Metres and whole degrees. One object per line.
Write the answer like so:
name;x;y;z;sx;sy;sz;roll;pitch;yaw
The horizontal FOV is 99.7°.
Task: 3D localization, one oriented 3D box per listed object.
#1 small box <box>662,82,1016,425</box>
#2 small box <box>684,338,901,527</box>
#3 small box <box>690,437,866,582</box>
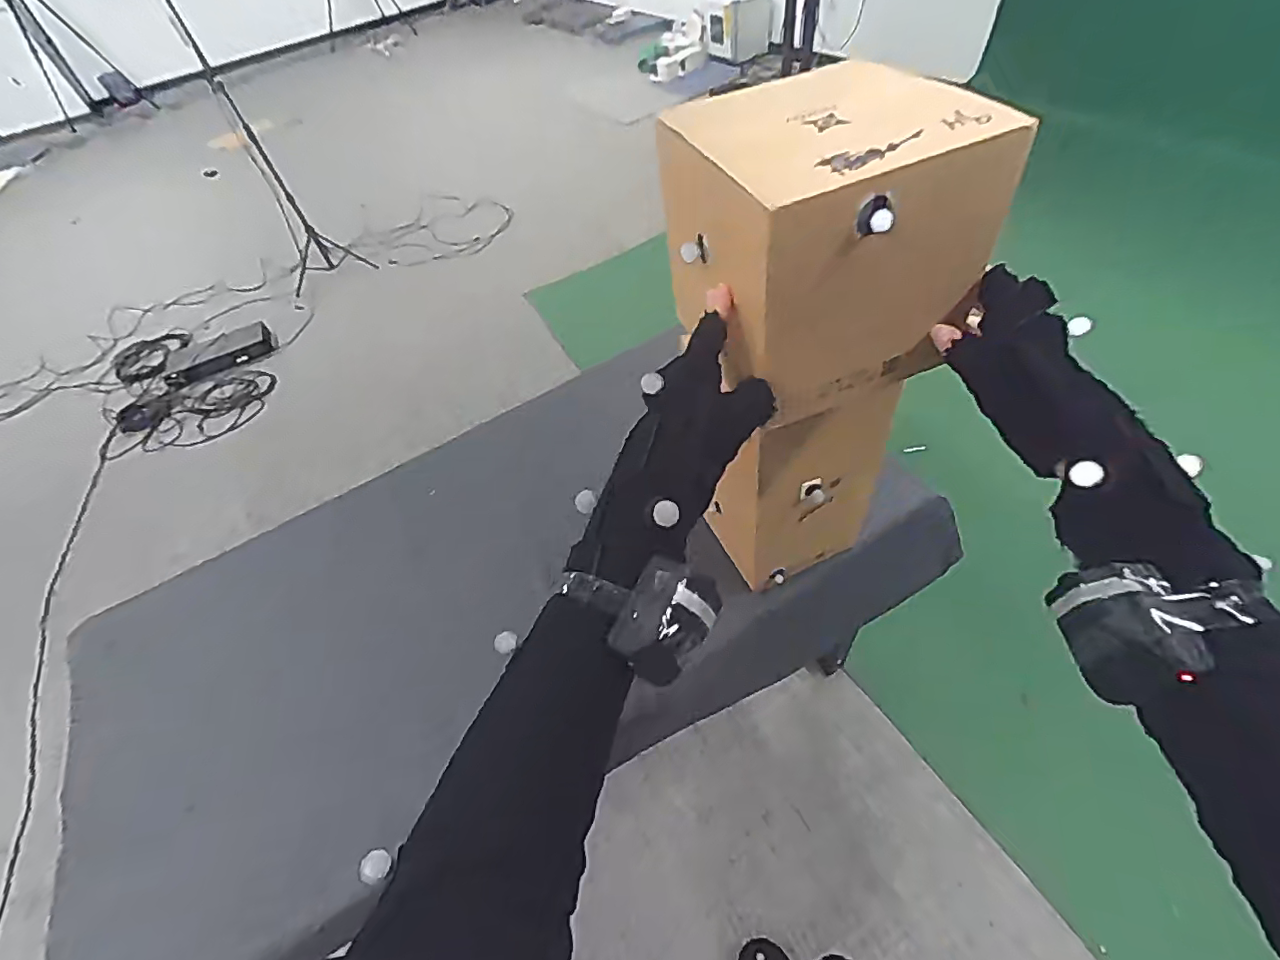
small box;0.128;-0.174;0.419;0.168;0.176;0.179;-20;49;-5
small box;0.164;-0.077;0.634;0.168;0.176;0.179;-24;52;-8
small box;0.187;0.020;0.761;0.168;0.176;0.179;-23;50;-9
